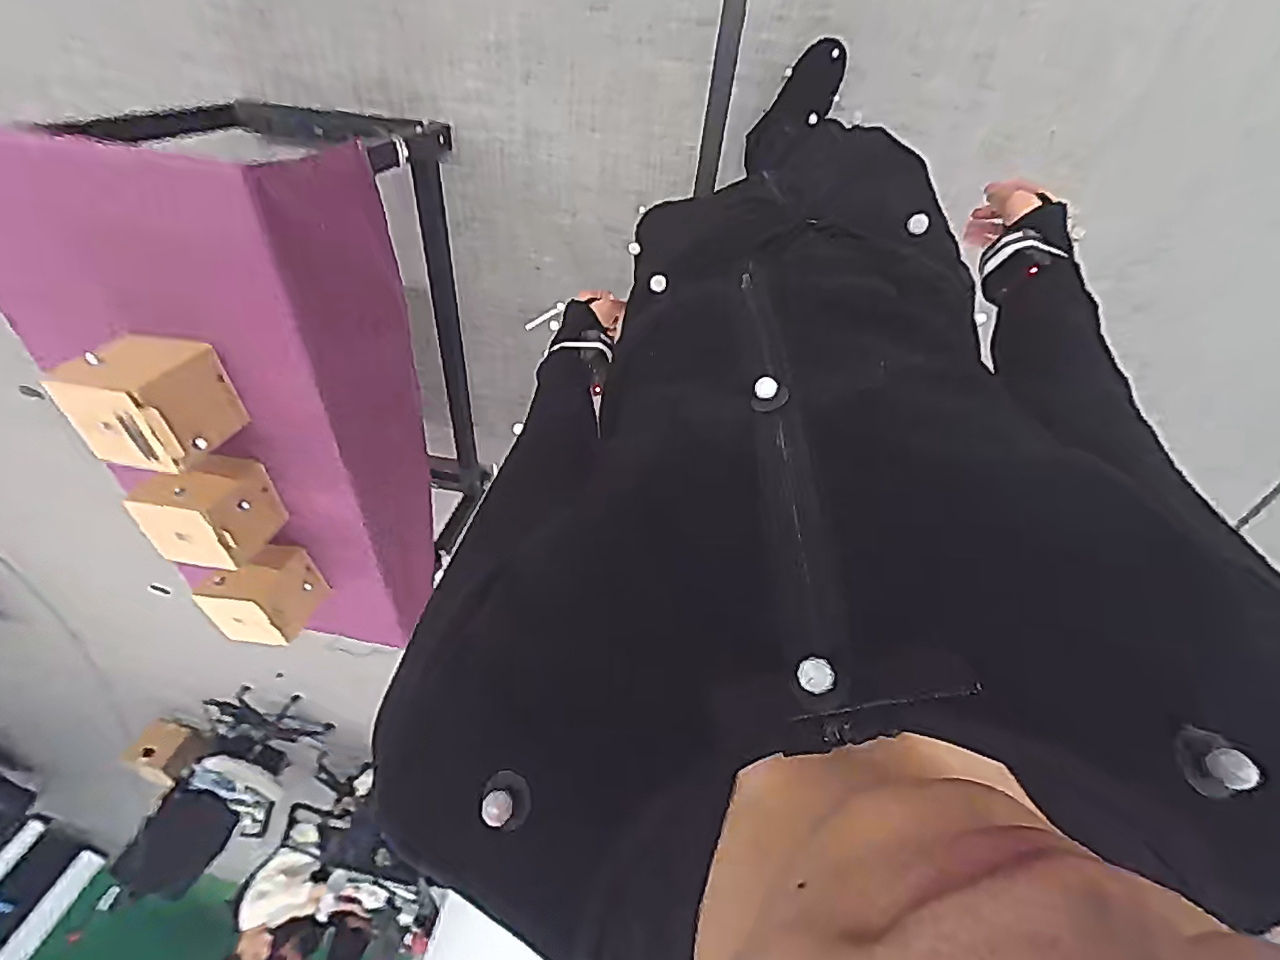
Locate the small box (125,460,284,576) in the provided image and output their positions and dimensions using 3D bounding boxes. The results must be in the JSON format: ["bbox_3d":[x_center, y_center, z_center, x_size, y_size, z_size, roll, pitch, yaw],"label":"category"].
[{"bbox_3d":[-0.895,0.075,1.138,0.179,0.176,0.168,8,129,6],"label":"small box"}]

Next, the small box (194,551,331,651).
[{"bbox_3d":[-0.900,0.286,1.307,0.179,0.176,0.168,2,129,10],"label":"small box"}]
